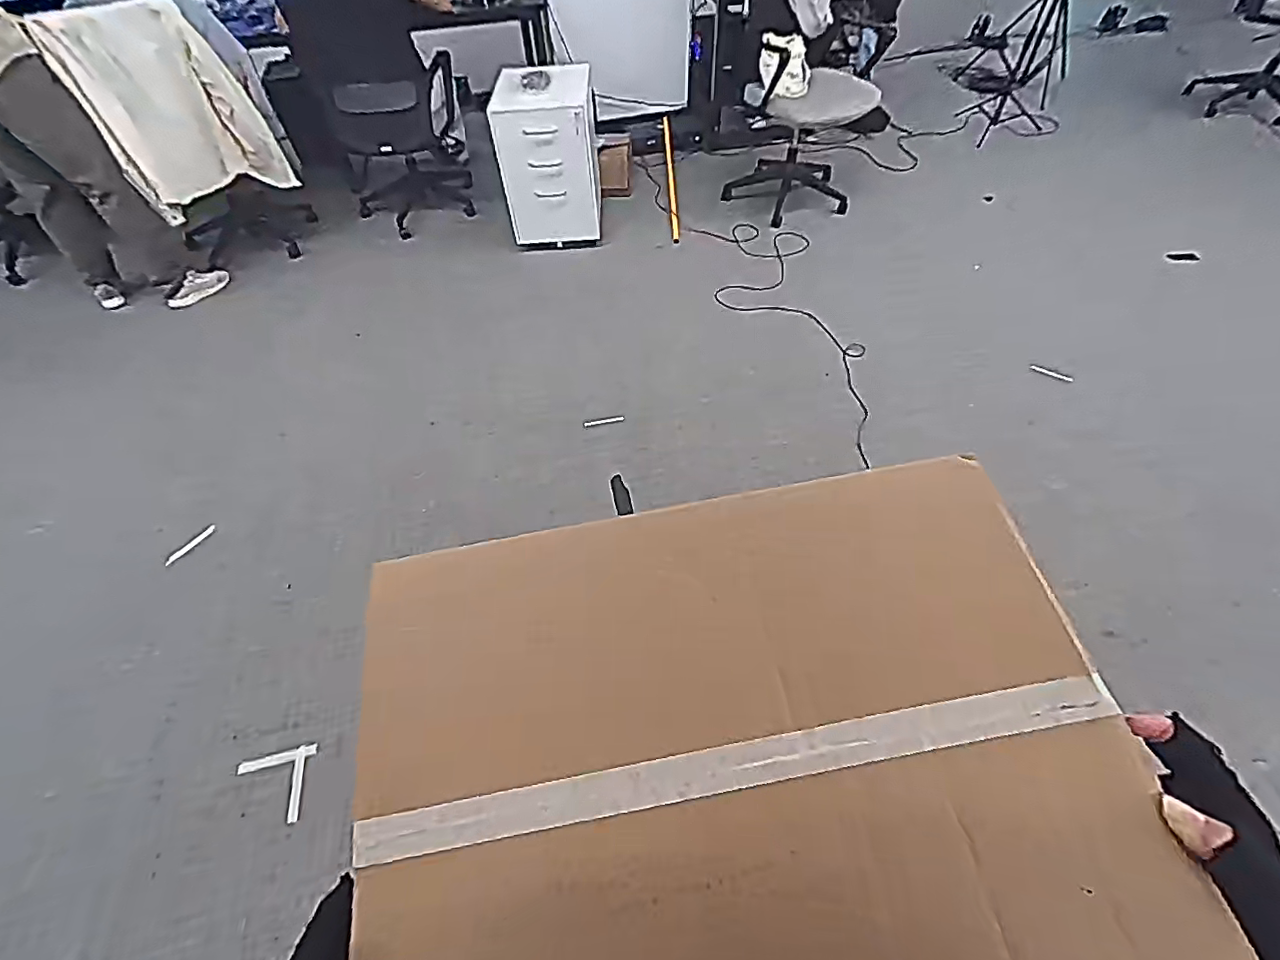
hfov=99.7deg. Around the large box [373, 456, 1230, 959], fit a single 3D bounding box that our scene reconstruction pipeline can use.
[{"bbox_3d":[0.062,0.223,0.430,0.408,0.320,0.320,-11,62,-1],"label":"large box"}]
